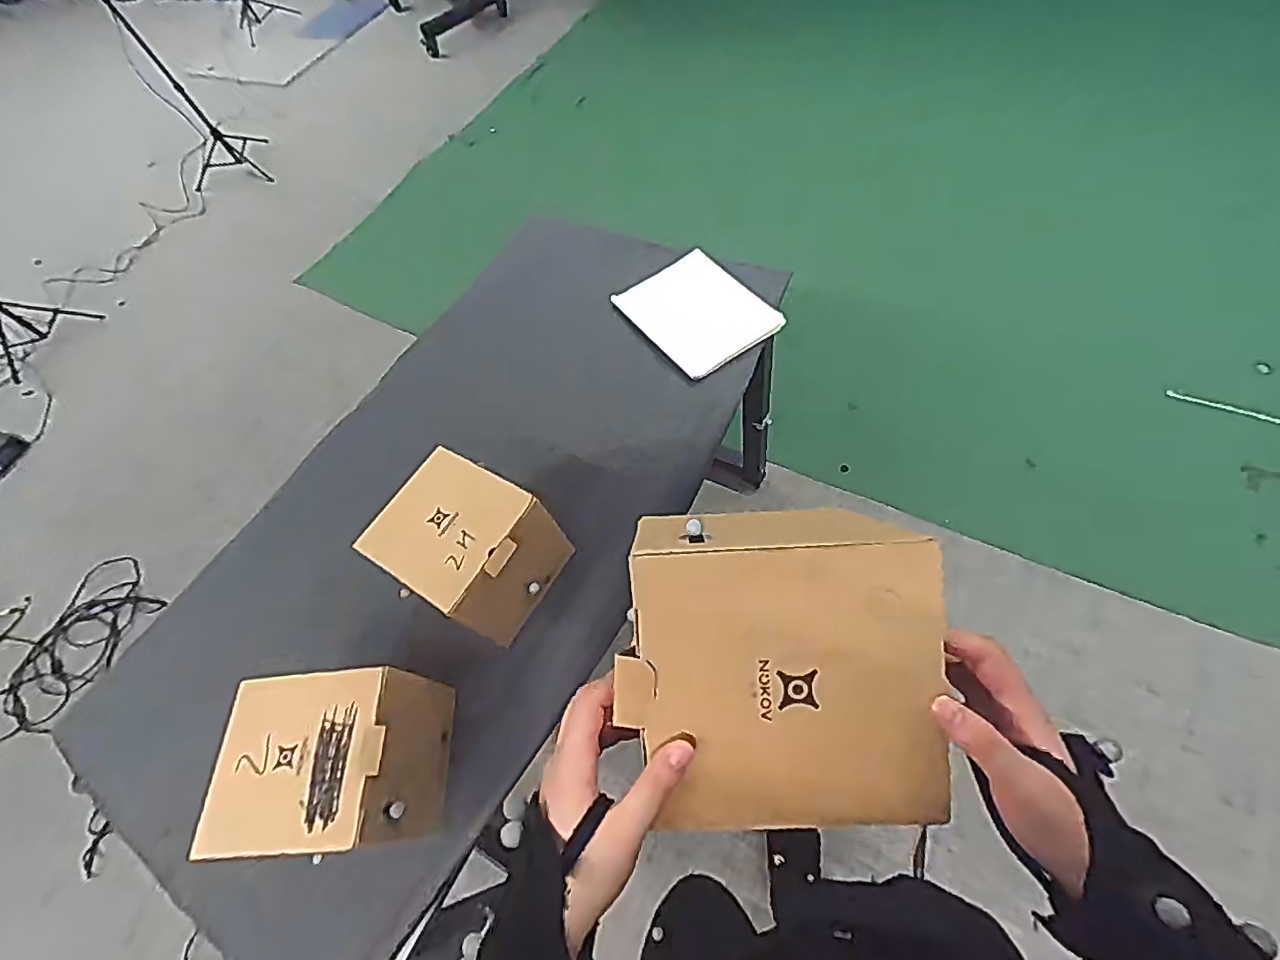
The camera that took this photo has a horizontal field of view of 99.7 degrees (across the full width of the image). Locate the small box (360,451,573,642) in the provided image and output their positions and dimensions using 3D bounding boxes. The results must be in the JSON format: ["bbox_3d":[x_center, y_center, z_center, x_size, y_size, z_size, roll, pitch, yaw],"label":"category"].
[{"bbox_3d":[-0.219,0.095,0.726,0.179,0.176,0.168,25,69,24],"label":"small box"}]
